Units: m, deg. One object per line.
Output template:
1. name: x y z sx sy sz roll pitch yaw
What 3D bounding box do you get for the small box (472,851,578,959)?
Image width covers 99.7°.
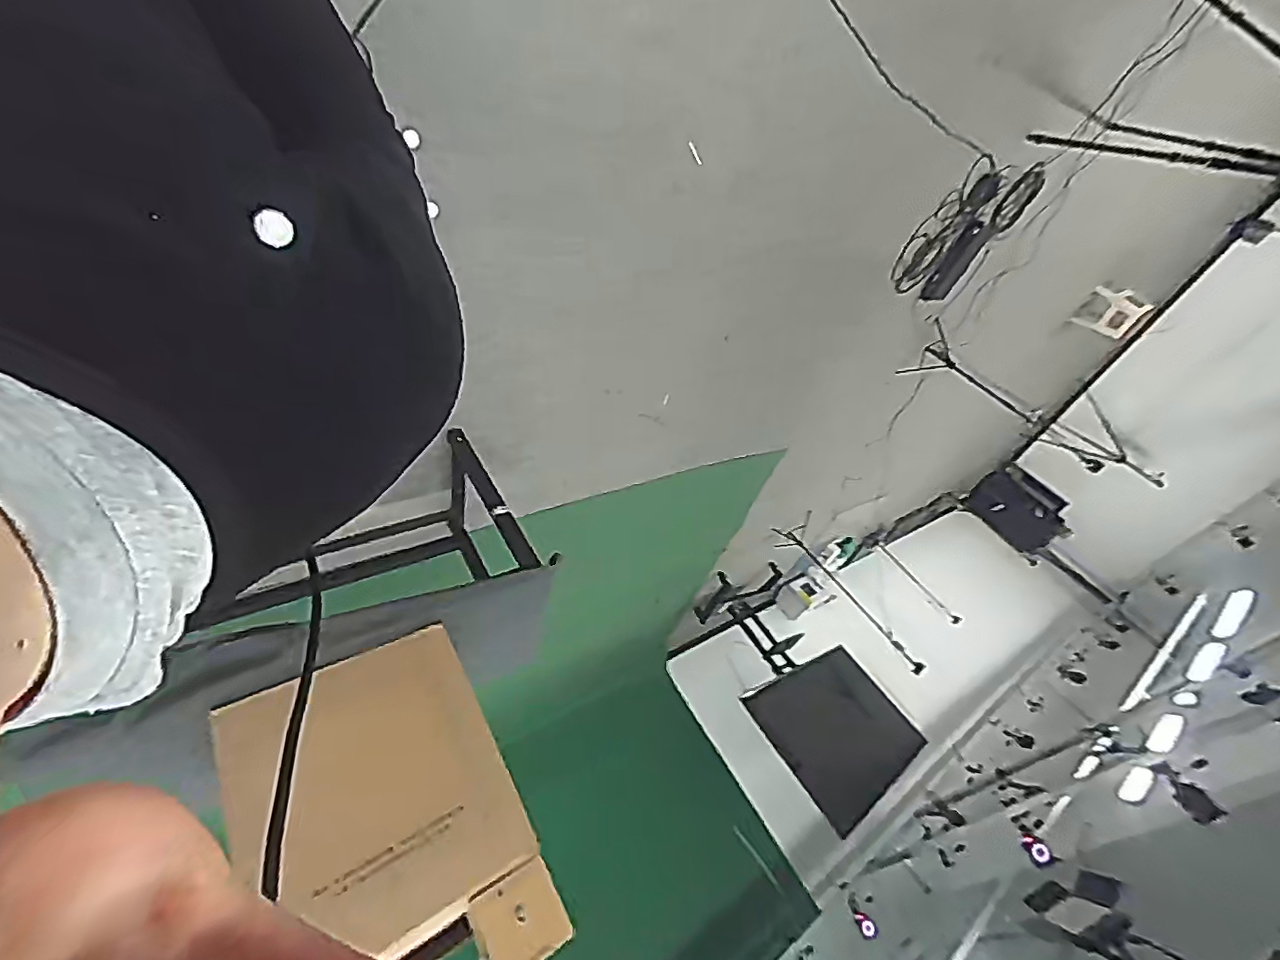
1. small box: -0.261 0.965 1.196 0.168 0.176 0.179 -18 144 -33
